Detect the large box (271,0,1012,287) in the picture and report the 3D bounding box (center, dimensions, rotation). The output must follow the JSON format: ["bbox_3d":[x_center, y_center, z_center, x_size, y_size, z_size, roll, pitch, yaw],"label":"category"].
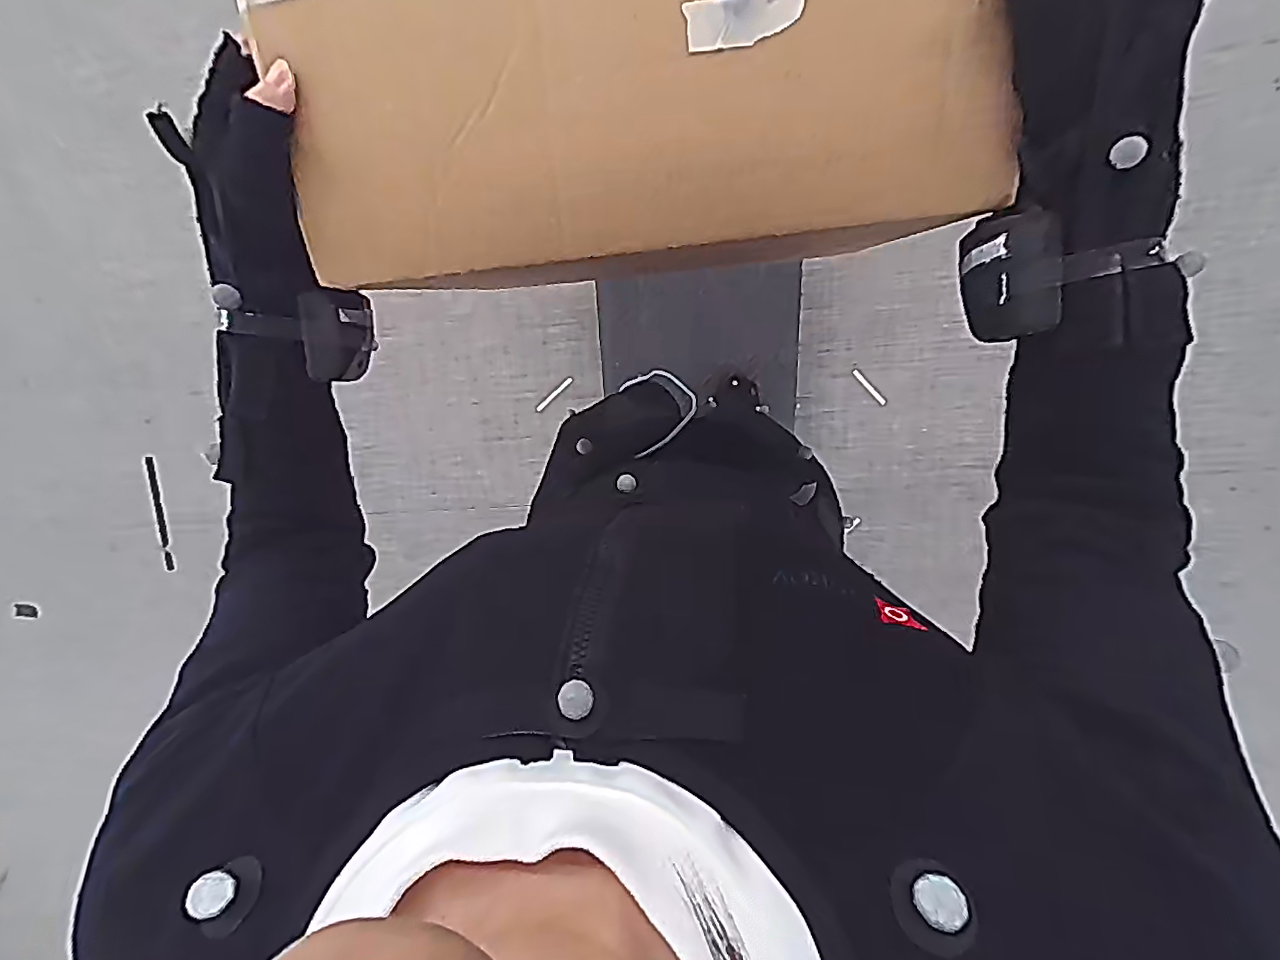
[{"bbox_3d":[0.000,-0.337,0.419,0.408,0.320,0.320,-4,109,8],"label":"large box"}]
